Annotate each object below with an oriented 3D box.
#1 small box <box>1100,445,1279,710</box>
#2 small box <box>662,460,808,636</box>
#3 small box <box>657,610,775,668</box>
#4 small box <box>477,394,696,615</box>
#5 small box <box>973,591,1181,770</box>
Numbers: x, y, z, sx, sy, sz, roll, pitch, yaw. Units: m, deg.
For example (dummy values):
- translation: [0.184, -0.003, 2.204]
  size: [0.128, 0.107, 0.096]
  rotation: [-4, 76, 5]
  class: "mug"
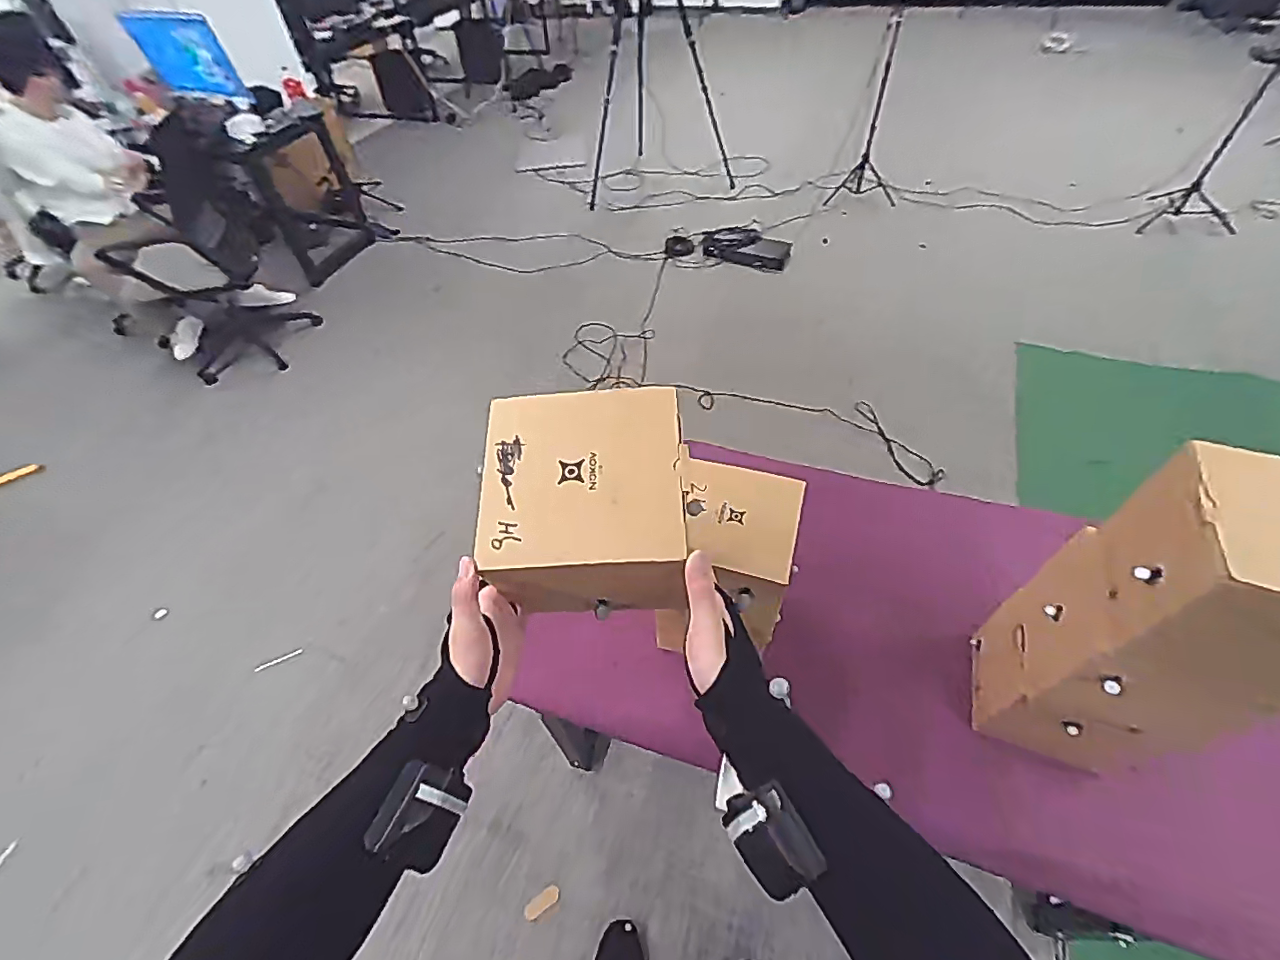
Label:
- translation: [0.587, 0.097, 0.522]
  size: [0.179, 0.176, 0.168]
  rotation: [17, 54, 17]
  class: "small box"
- translation: [0.124, 0.100, 0.766]
  size: [0.179, 0.176, 0.168]
  rotation: [13, 52, 14]
  class: "small box"
- translation: [0.135, 0.194, 0.902]
  size: [0.179, 0.176, 0.168]
  rotation: [11, 52, 14]
  class: "small box"
- translation: [-0.041, 0.033, 0.533]
  size: [0.179, 0.176, 0.168]
  rotation: [-3, 63, 2]
  class: "small box"
- translation: [0.608, 0.293, 0.784]
  size: [0.179, 0.176, 0.168]
  rotation: [15, 53, 16]
  class: "small box"
